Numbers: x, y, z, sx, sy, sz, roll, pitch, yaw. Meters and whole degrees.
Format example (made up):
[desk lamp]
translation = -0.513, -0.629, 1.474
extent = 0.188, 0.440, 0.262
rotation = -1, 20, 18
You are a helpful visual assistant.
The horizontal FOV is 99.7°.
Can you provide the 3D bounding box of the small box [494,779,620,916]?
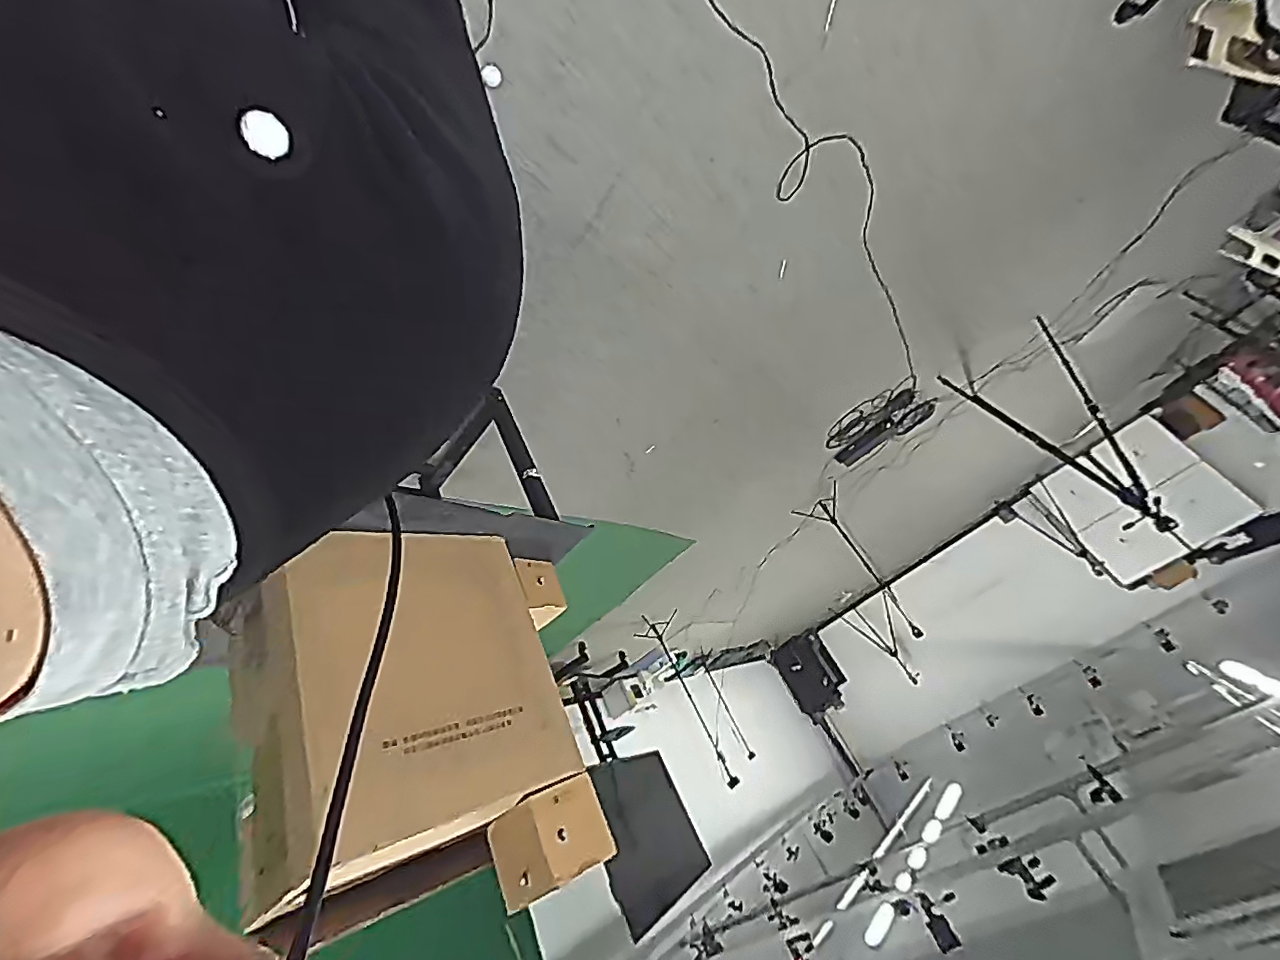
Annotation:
[small box]
translation = -0.178, 0.748, 1.121
extent = 0.168, 0.176, 0.179
rotation = 9, 134, -48
